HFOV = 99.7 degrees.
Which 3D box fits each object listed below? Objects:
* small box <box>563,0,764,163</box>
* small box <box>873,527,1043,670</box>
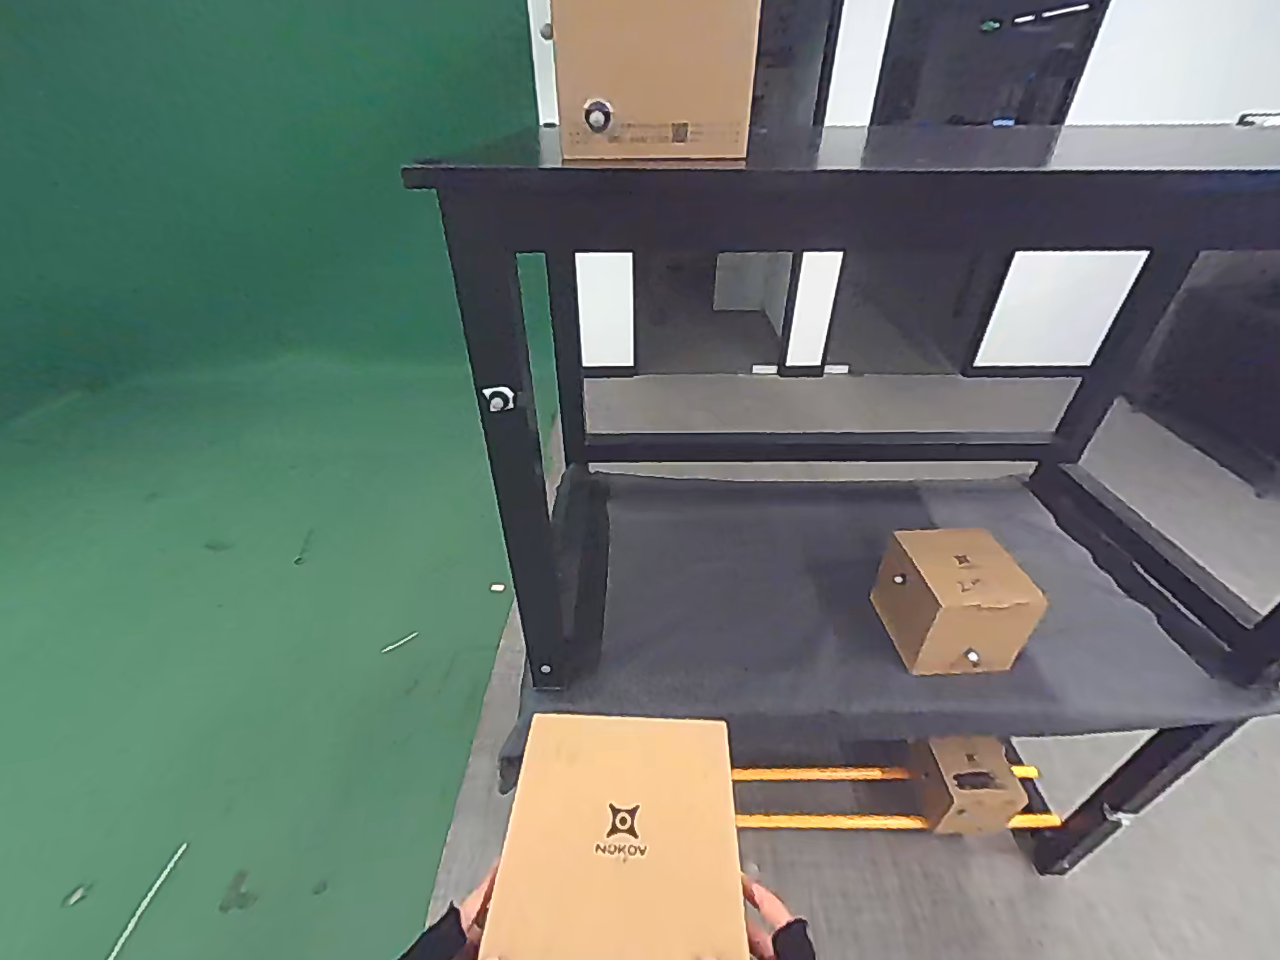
[{"bbox_3d":[0.016,-0.401,0.508,0.168,0.176,0.179,-2,35,-4],"label":"small box"},{"bbox_3d":[0.524,0.200,0.925,0.168,0.176,0.179,-2,34,-2],"label":"small box"}]
